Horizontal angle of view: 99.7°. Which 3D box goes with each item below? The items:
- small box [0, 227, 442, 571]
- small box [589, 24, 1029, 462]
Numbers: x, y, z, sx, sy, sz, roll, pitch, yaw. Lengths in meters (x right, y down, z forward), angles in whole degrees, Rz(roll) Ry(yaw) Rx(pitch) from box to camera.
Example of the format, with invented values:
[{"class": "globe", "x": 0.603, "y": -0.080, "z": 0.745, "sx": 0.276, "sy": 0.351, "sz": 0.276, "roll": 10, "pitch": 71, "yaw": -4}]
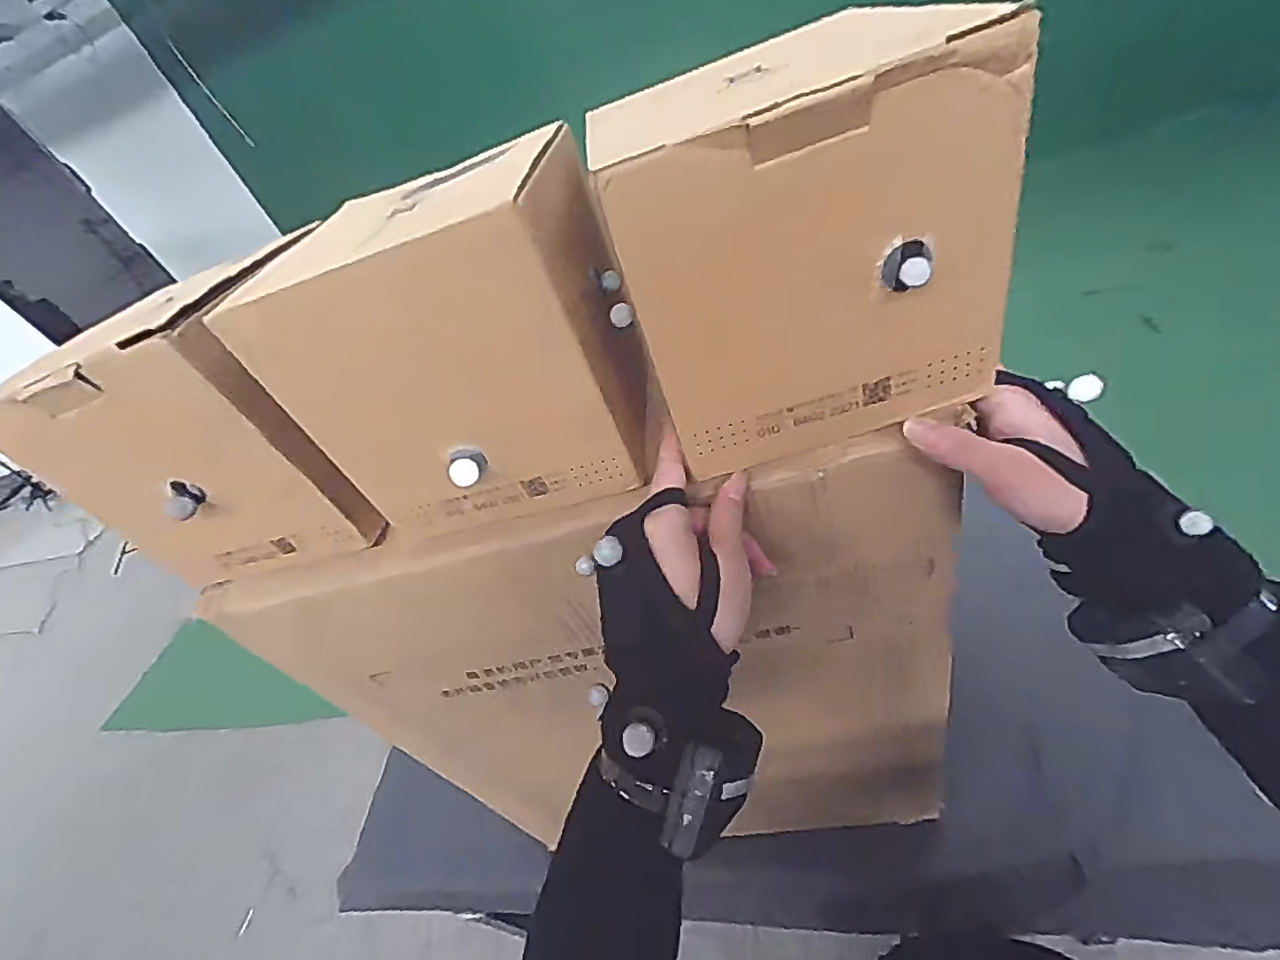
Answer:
[{"class": "small box", "x": -0.276, "y": -0.050, "z": 0.399, "sx": 0.168, "sy": 0.176, "sz": 0.179, "roll": -13, "pitch": 41, "yaw": 14}, {"class": "small box", "x": 0.076, "y": -0.128, "z": 0.313, "sx": 0.168, "sy": 0.176, "sz": 0.179, "roll": -16, "pitch": 39, "yaw": 5}]
